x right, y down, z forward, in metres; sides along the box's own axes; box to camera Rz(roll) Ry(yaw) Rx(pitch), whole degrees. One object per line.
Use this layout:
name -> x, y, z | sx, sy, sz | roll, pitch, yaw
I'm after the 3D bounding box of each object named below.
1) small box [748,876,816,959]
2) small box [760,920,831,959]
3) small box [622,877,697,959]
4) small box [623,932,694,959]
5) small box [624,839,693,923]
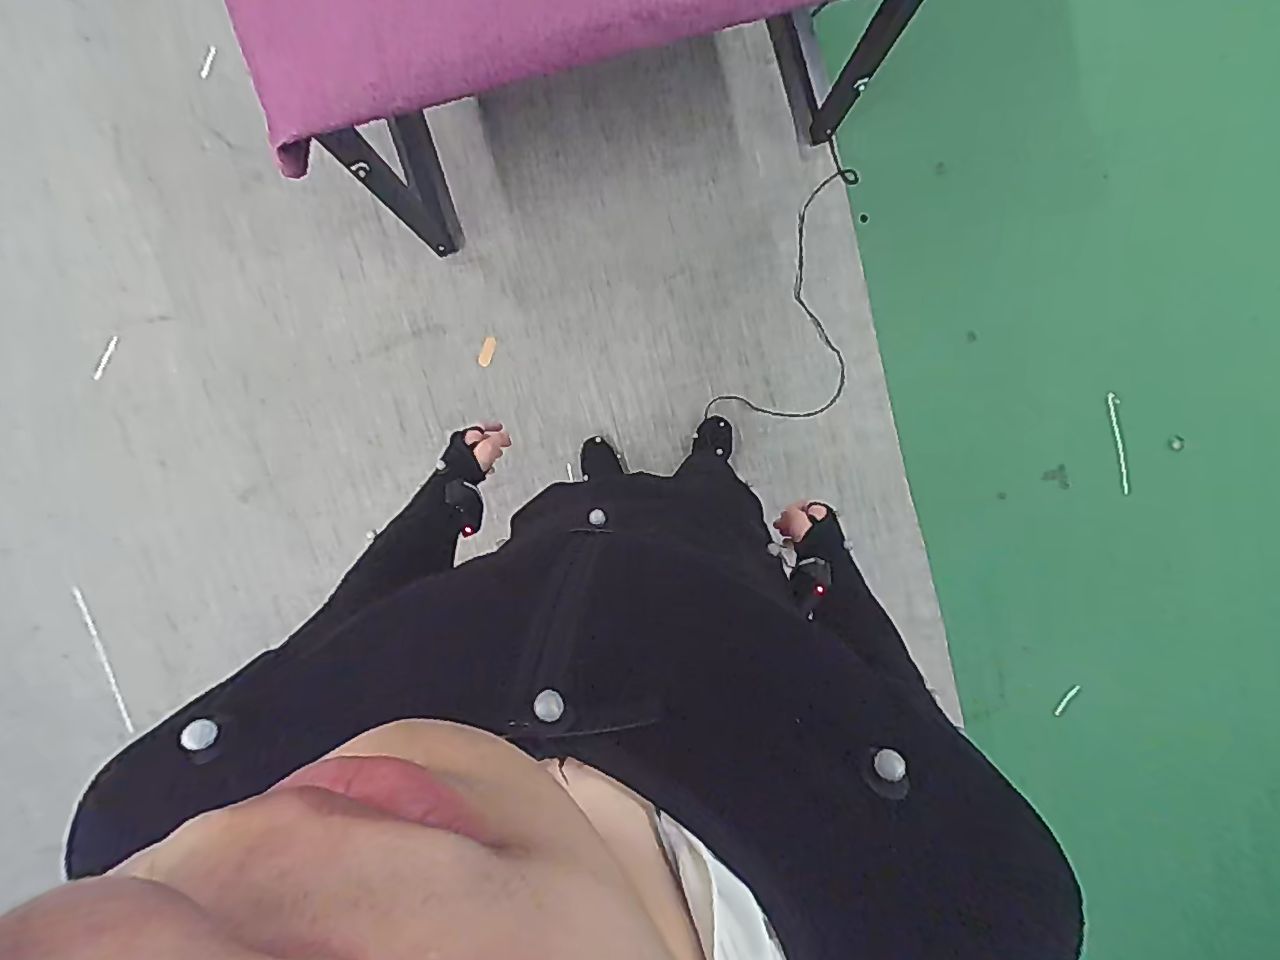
small box -> 0.436, 1.367, 1.667 | 0.179, 0.176, 0.168 | -6, 95, -1
small box -> 0.436, 1.375, 1.501 | 0.179, 0.176, 0.168 | -7, 96, -1
small box -> 0.055, 1.246, 1.487 | 0.179, 0.176, 0.168 | -15, 94, -2
small box -> 0.060, 1.263, 1.323 | 0.179, 0.176, 0.168 | -14, 94, -1
small box -> 0.052, 1.240, 1.648 | 0.179, 0.176, 0.168 | -14, 95, -1
